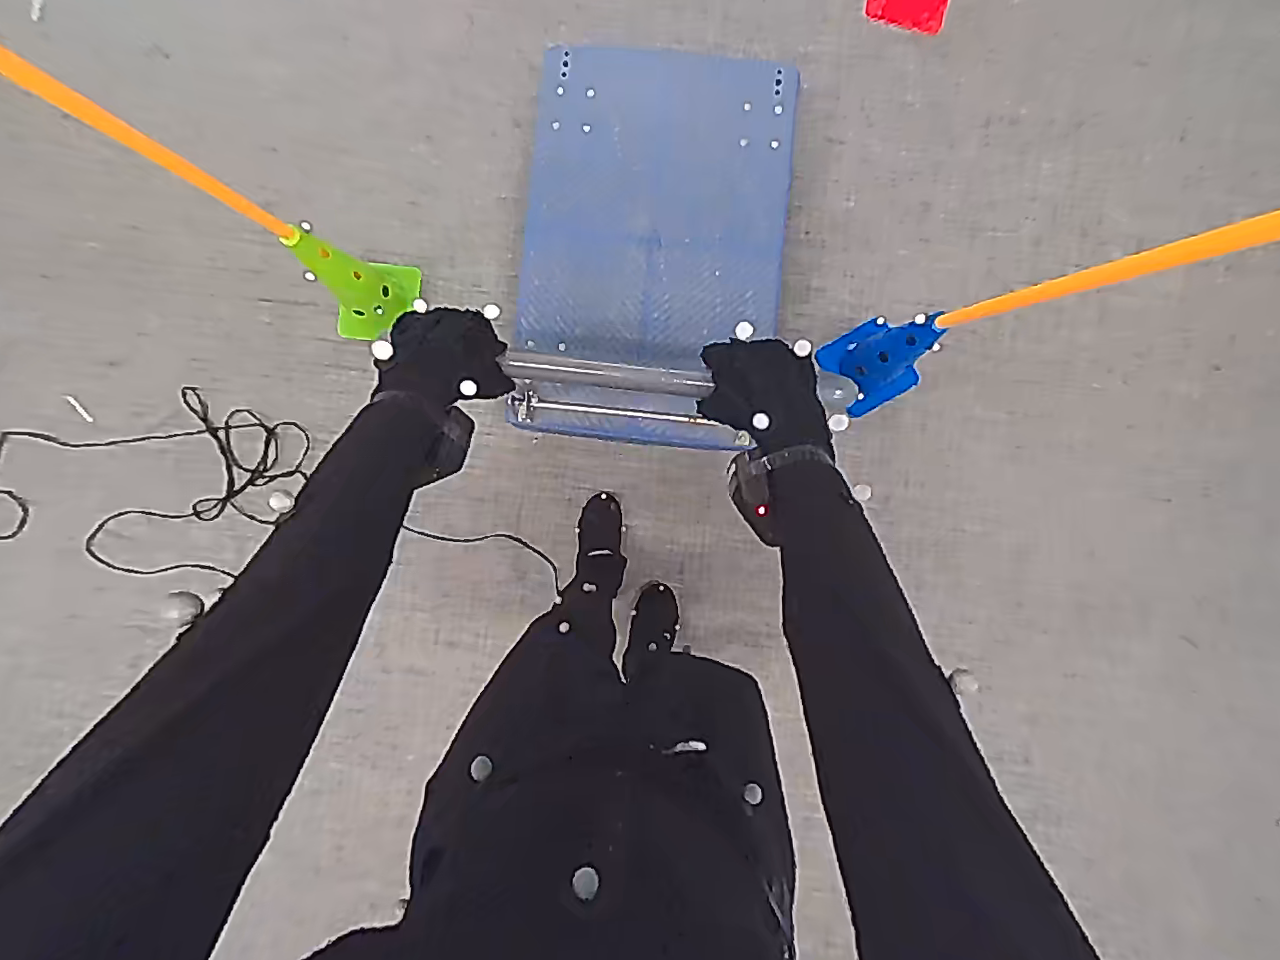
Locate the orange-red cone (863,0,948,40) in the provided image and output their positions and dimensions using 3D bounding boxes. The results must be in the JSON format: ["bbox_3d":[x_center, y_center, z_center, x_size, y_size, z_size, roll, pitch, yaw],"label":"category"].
[{"bbox_3d":[0.688,-1.253,1.225,0.198,0.360,0.199,18,89,3],"label":"orange-red cone"}]
